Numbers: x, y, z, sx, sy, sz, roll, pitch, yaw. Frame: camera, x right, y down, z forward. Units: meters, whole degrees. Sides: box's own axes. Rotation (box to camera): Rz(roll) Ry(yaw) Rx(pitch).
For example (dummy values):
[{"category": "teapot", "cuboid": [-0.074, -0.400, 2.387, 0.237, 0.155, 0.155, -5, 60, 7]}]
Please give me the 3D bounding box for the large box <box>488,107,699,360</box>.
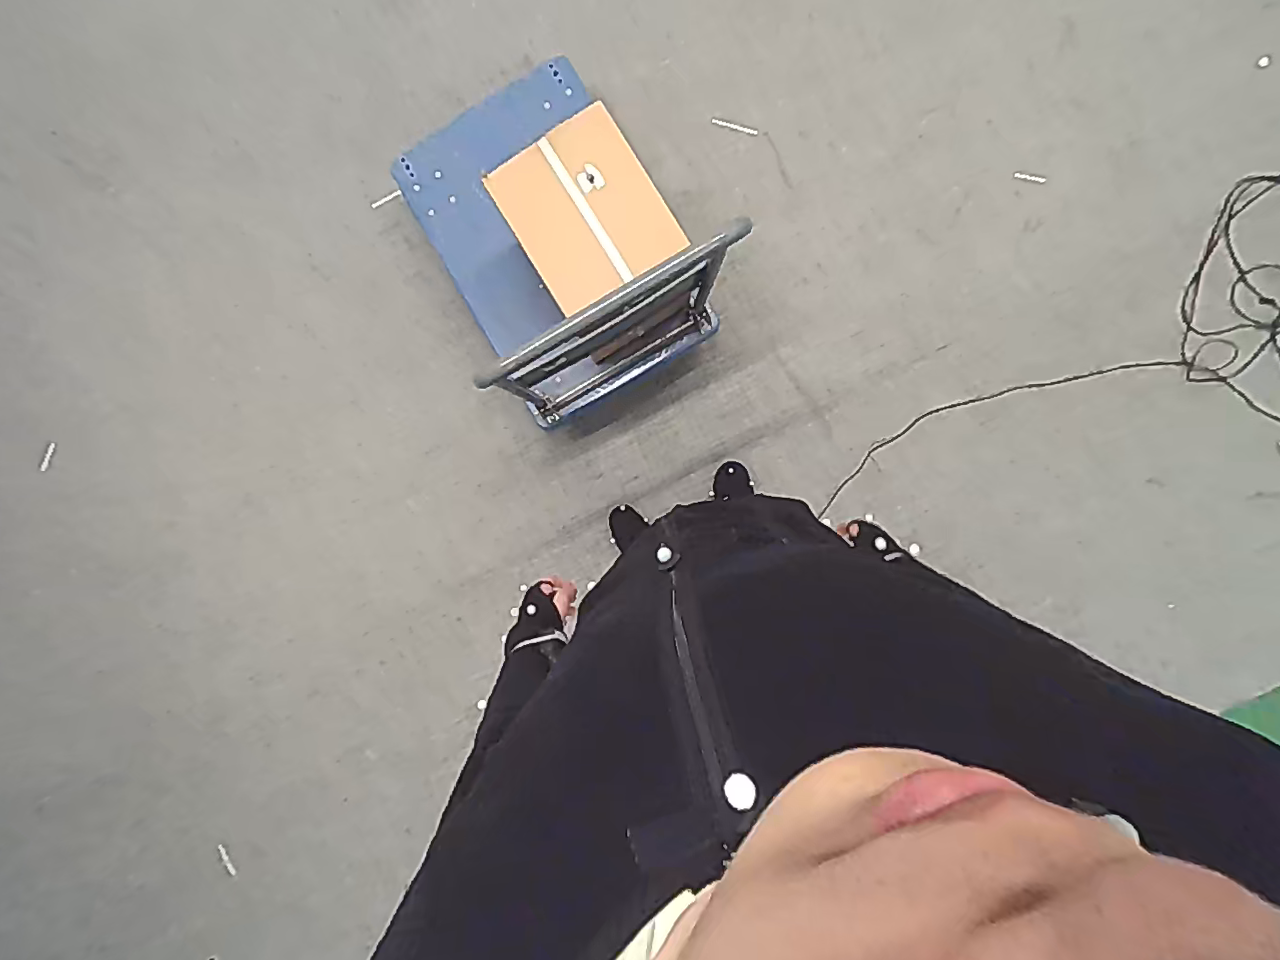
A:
[{"category": "large box", "cuboid": [-0.093, -0.567, 1.325, 0.320, 0.320, 0.408, -32, 88, 2]}]
